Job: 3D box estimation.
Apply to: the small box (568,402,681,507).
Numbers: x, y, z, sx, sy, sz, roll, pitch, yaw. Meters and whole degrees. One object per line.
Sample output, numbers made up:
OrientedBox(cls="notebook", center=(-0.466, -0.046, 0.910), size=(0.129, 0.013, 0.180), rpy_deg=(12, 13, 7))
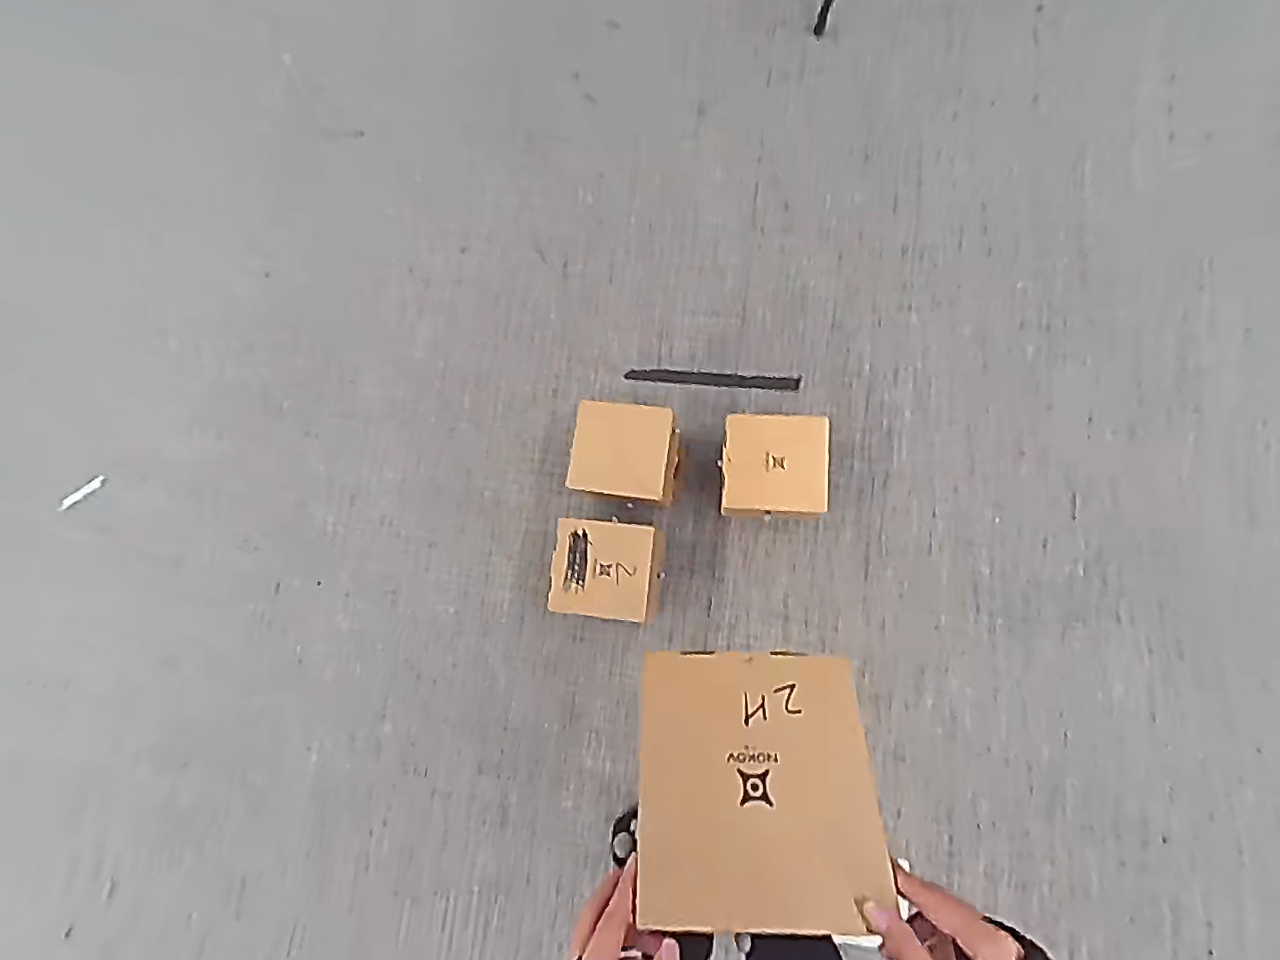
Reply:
OrientedBox(cls="small box", center=(-0.023, -0.043, 1.043), size=(0.179, 0.176, 0.168), rpy_deg=(7, 82, 9))

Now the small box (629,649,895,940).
OrientedBox(cls="small box", center=(0.079, 0.252, 0.443), size=(0.168, 0.176, 0.179), rpy_deg=(1, 54, 1))
